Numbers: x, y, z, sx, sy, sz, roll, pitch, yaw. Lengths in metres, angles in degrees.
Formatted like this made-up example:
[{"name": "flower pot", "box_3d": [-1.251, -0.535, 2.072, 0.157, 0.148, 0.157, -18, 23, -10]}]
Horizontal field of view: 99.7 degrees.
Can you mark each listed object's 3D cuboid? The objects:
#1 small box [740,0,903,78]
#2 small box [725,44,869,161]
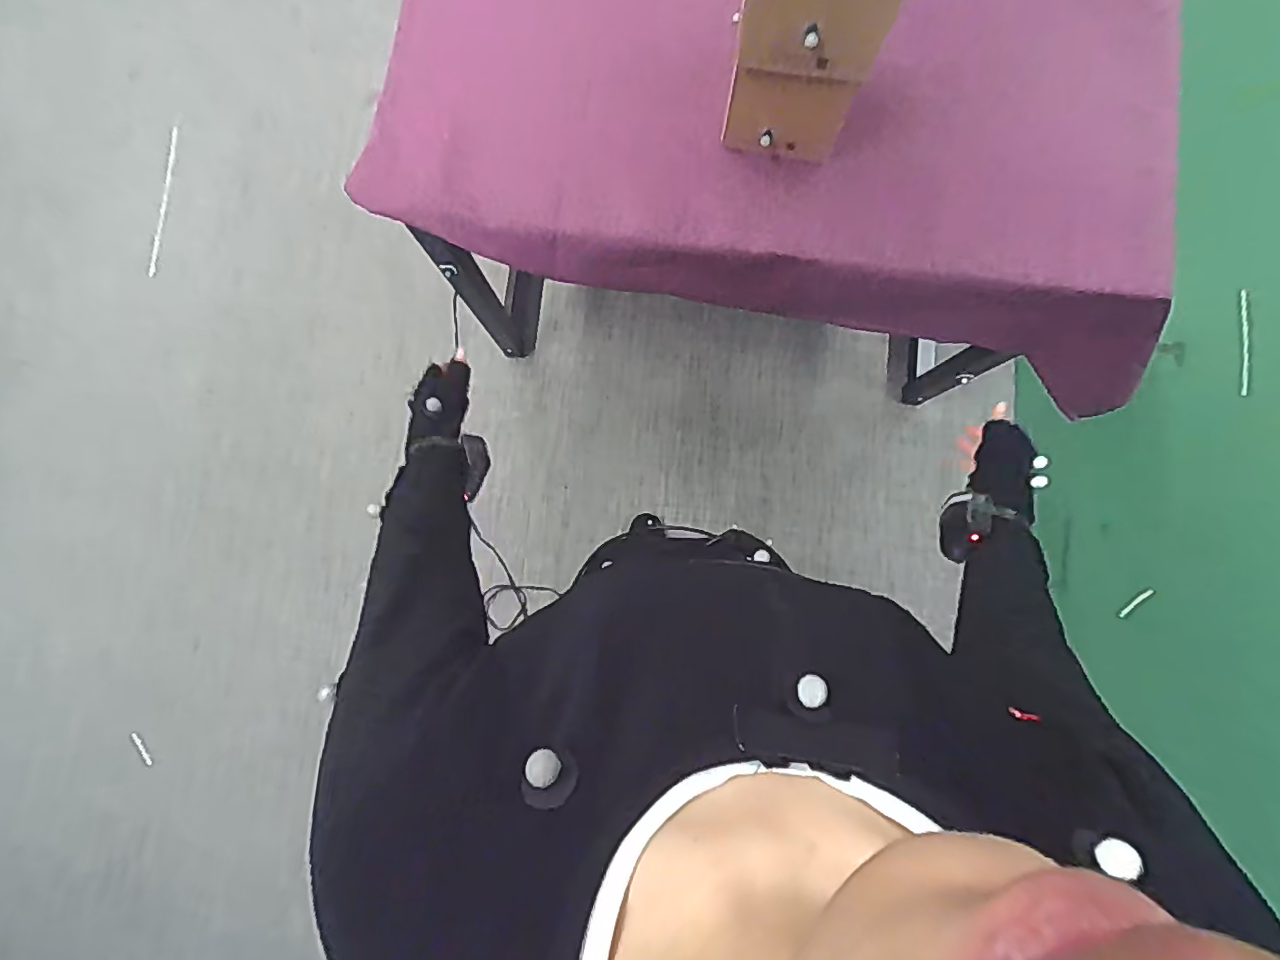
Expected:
[{"name": "small box", "box_3d": [0.211, -0.598, 0.595, 0.168, 0.176, 0.179, 9, 84, 3]}, {"name": "small box", "box_3d": [0.221, -0.595, 0.759, 0.168, 0.176, 0.179, 10, 84, 2]}]
